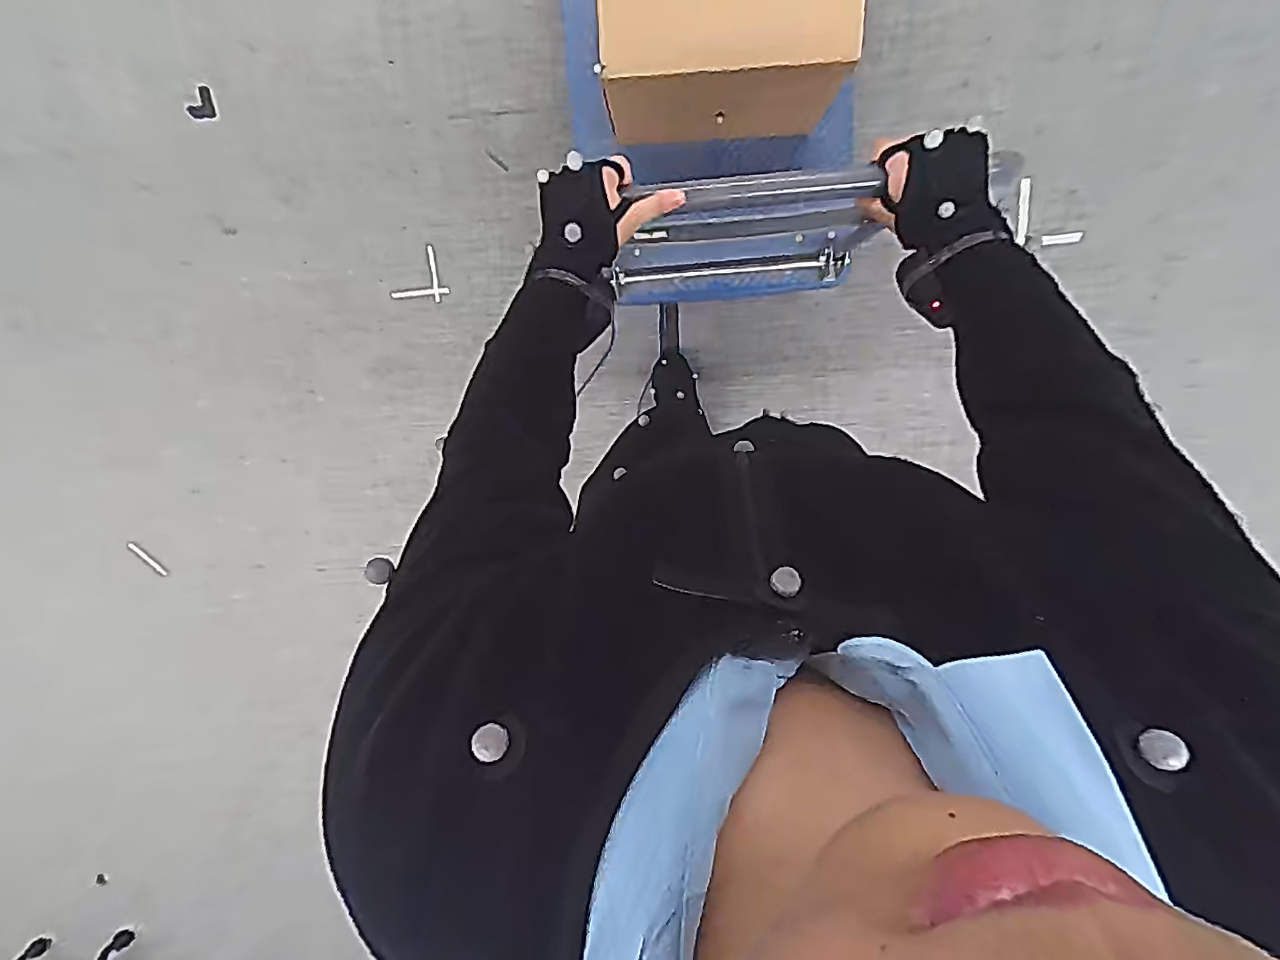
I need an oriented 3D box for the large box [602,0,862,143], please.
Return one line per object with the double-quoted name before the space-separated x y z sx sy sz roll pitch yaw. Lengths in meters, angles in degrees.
"large box" 0.145 -0.835 0.961 0.408 0.320 0.320 -2 103 4
